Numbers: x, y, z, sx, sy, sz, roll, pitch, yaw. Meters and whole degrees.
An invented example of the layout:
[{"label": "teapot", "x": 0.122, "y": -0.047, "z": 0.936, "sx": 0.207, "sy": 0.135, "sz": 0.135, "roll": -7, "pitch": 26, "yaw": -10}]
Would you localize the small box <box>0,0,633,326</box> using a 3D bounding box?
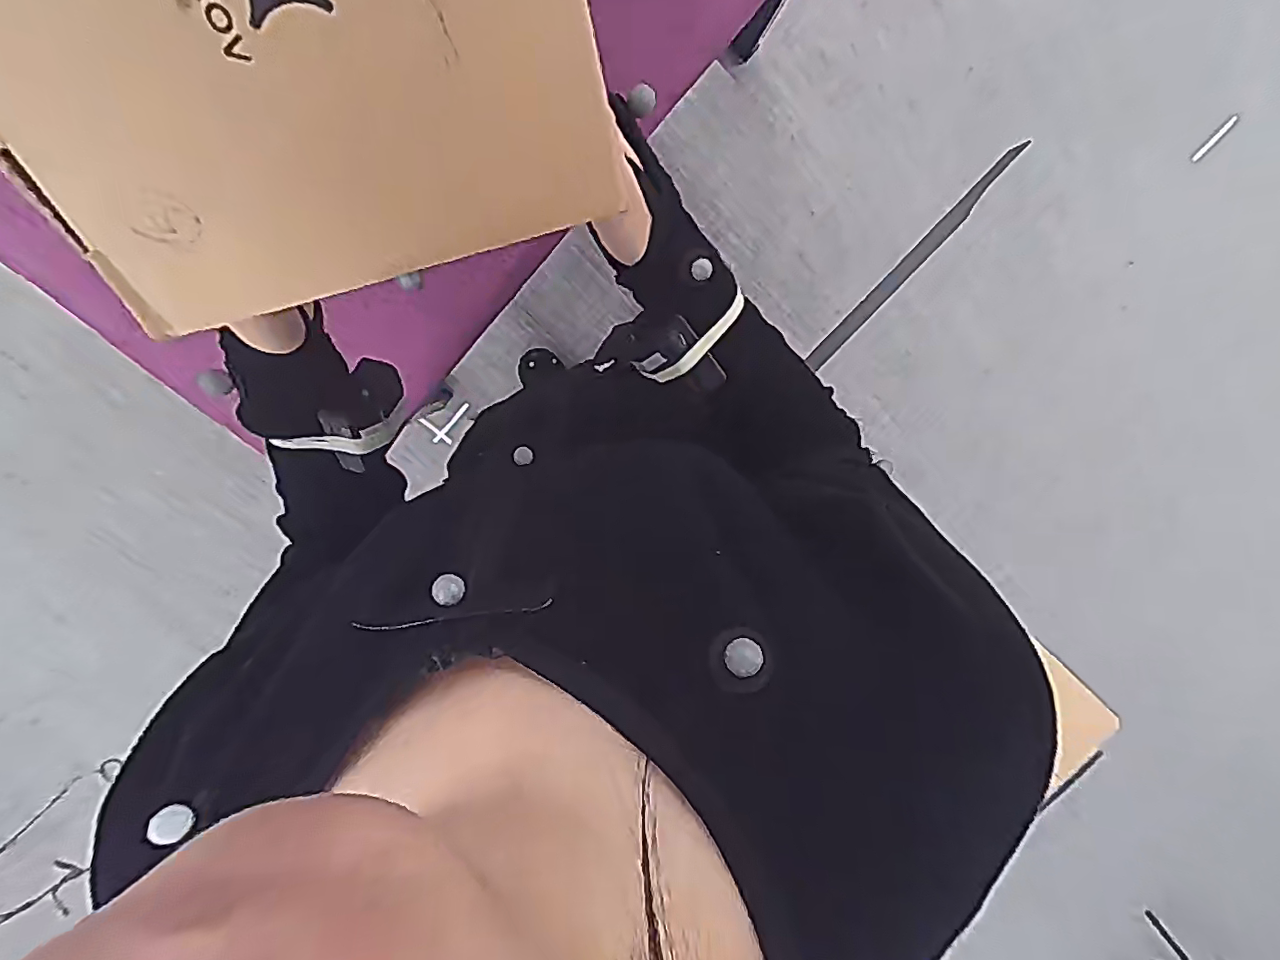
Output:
[{"label": "small box", "x": -0.118, "y": -0.184, "z": 0.210, "sx": 0.179, "sy": 0.176, "sz": 0.168, "roll": -18, "pitch": 127, "yaw": -4}]
